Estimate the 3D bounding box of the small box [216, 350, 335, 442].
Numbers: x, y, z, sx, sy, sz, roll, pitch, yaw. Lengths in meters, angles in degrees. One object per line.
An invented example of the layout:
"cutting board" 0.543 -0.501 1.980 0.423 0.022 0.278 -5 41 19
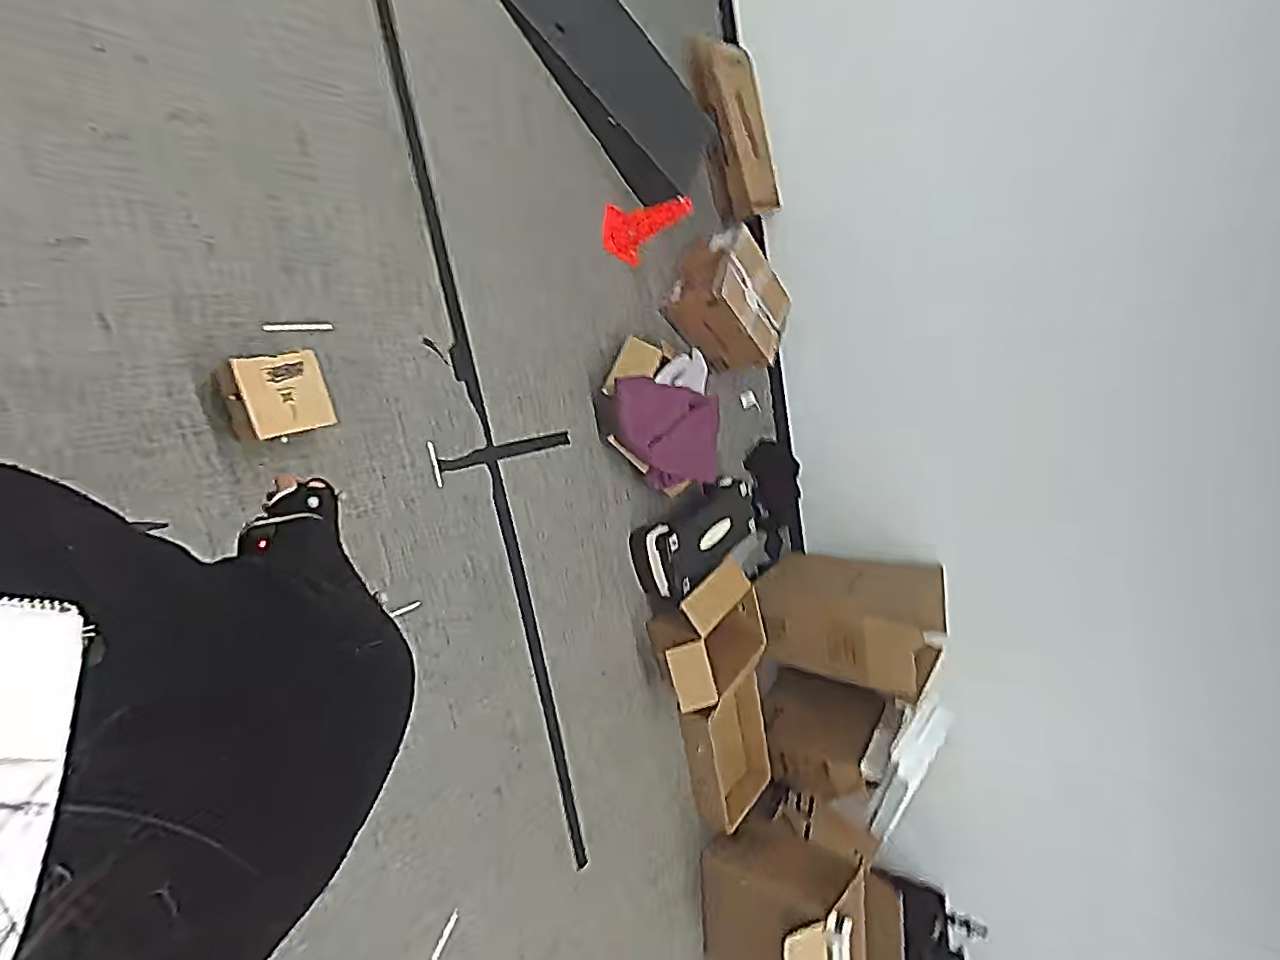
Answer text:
"small box" -0.846 -0.192 1.252 0.168 0.176 0.179 -24 107 -45
